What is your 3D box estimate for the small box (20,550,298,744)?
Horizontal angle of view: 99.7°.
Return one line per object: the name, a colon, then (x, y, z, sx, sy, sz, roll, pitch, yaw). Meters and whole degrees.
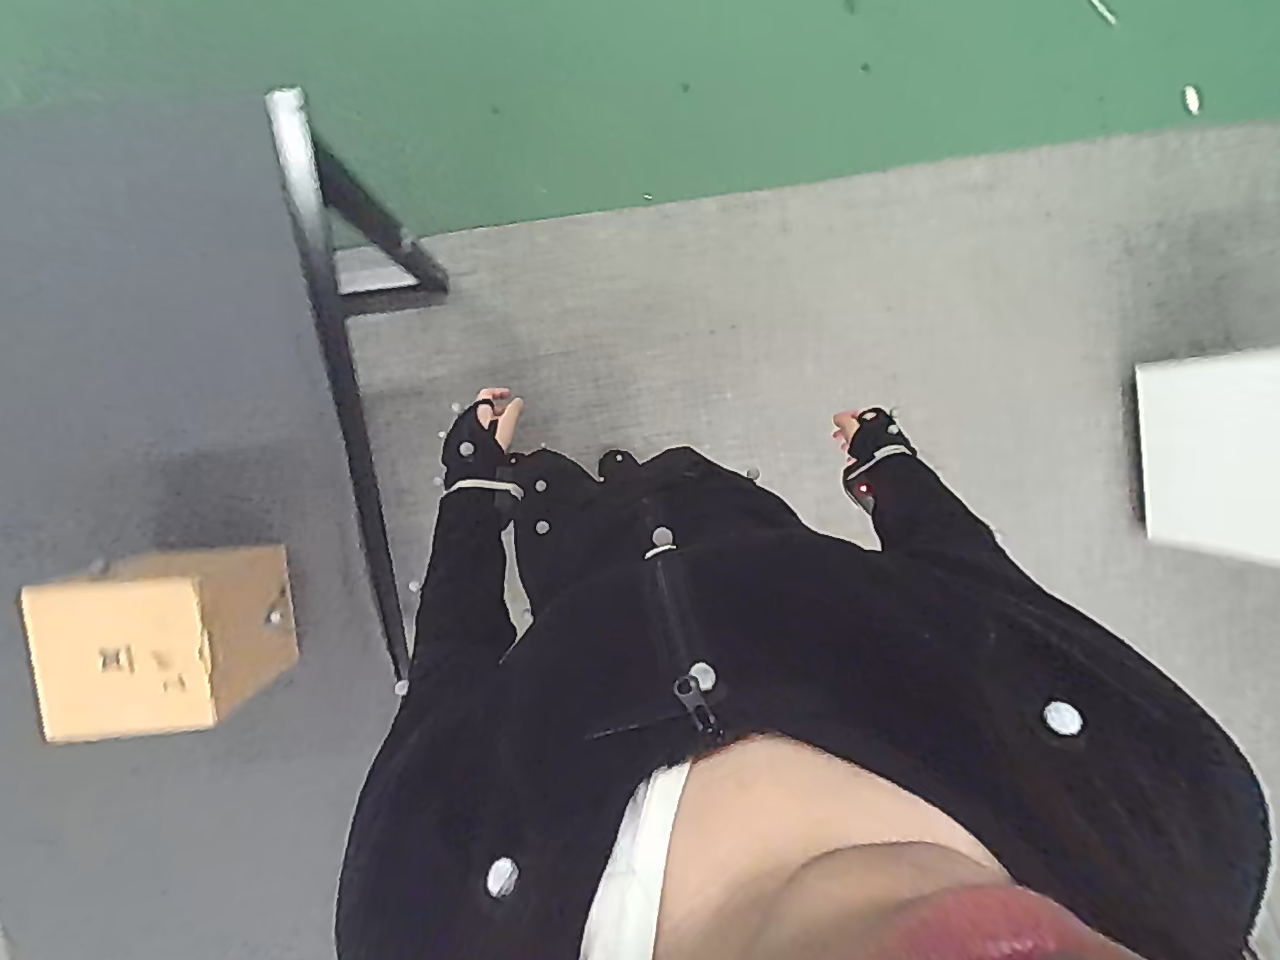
small box: (-0.551, 0.185, 0.646, 0.179, 0.176, 0.168, -4, 96, -4)
